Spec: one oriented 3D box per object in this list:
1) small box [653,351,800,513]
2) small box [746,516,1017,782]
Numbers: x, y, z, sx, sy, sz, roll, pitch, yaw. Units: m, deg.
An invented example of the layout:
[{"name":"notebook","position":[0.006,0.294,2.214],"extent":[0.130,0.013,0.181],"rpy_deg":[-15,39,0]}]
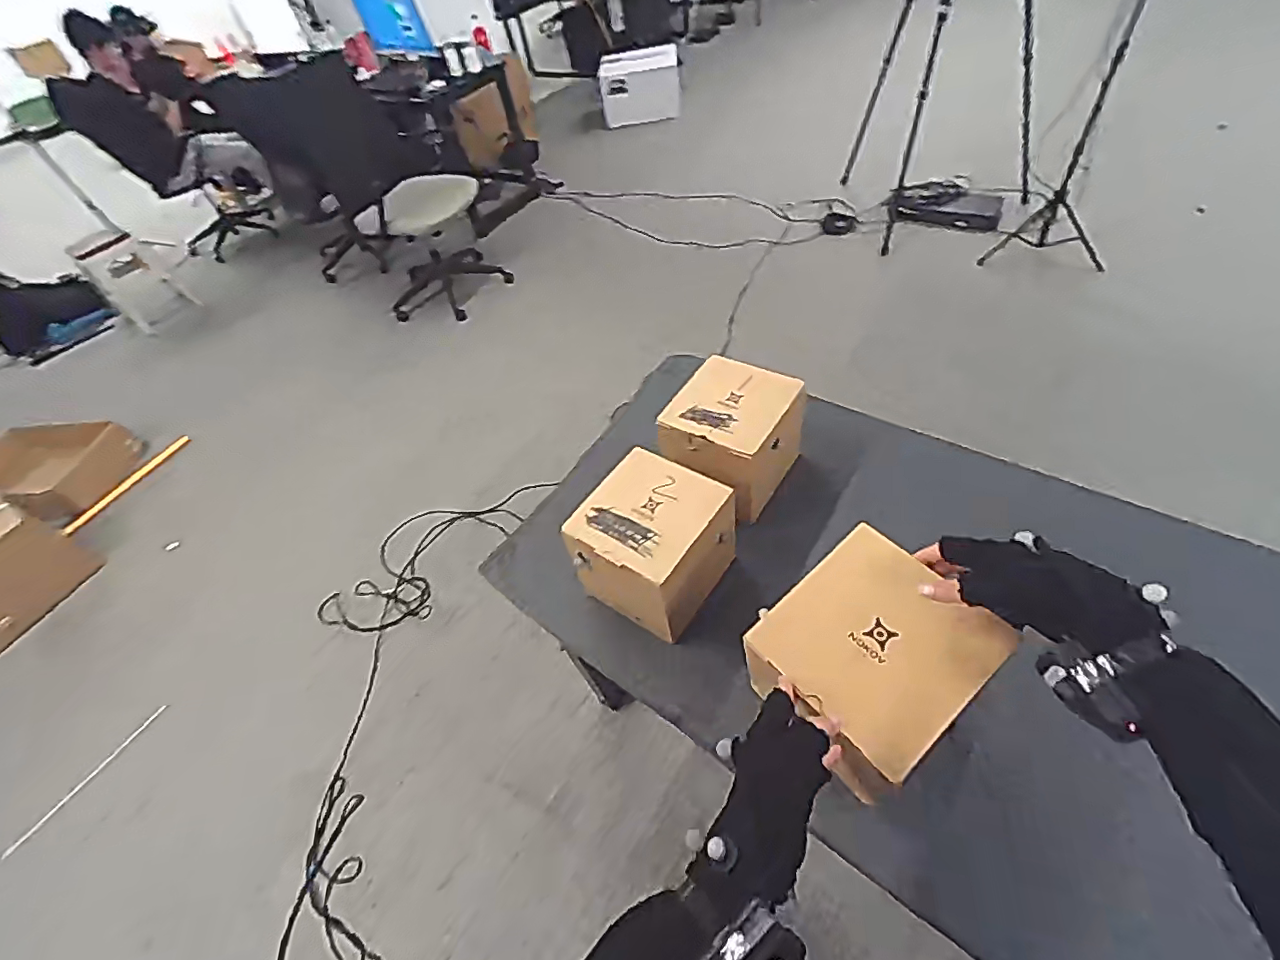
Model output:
[{"name":"small box","position":[0.145,-0.075,0.880],"extent":[0.168,0.176,0.179],"rpy_deg":[25,60,27]},{"name":"small box","position":[0.229,0.177,0.555],"extent":[0.179,0.176,0.168],"rpy_deg":[-41,56,-12]}]
